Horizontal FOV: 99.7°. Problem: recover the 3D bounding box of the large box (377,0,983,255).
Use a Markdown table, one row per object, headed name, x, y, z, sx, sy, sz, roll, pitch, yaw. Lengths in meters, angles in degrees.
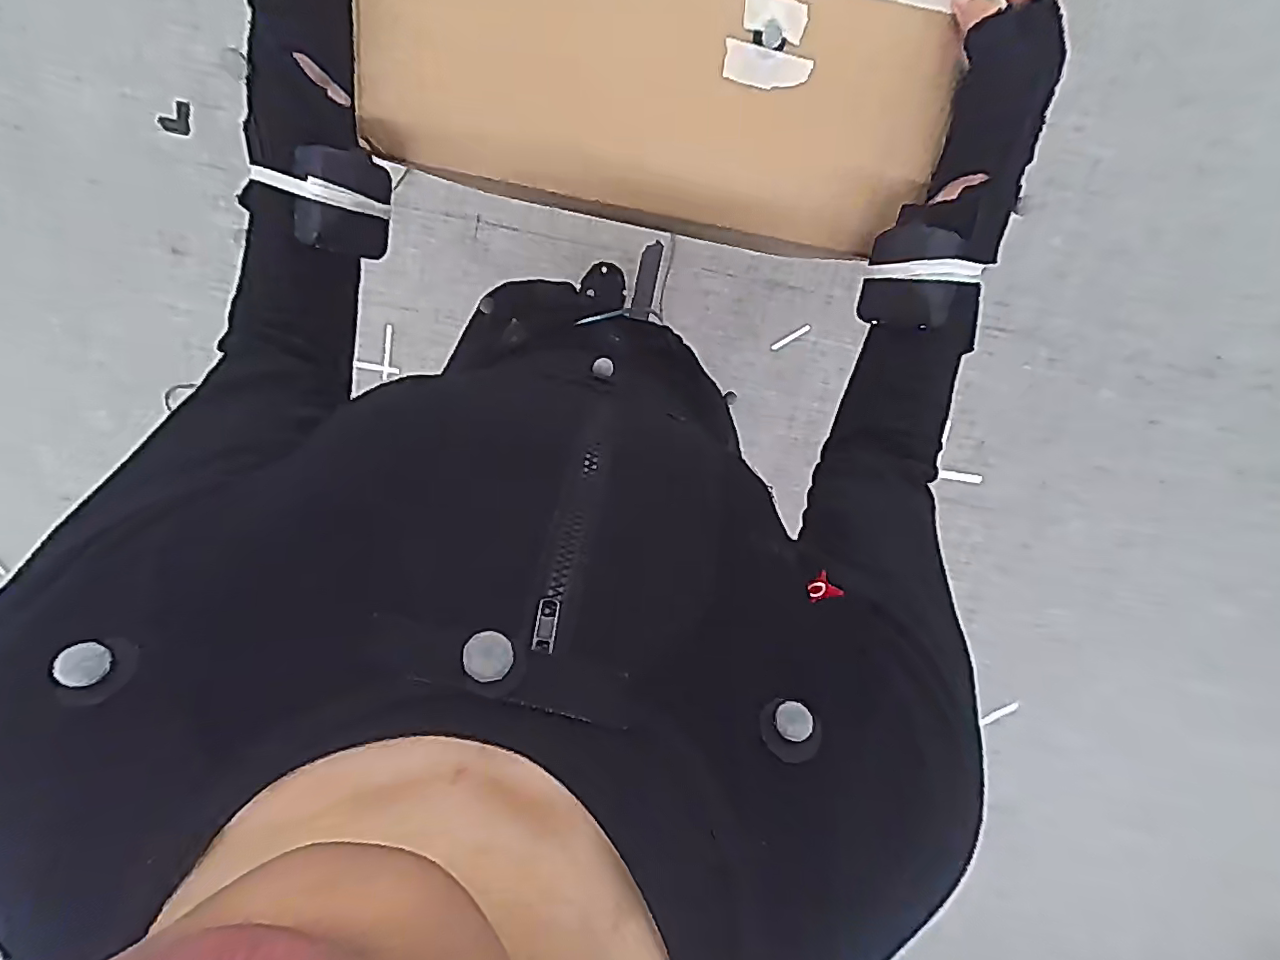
| name | x | y | z | sx | sy | sz | roll | pitch | yaw |
| --- | --- | --- | --- | --- | --- | --- | --- | --- | --- |
| large box | 0.028 | -0.401 | 0.484 | 0.408 | 0.320 | 0.320 | 9 | 114 | -5 |
